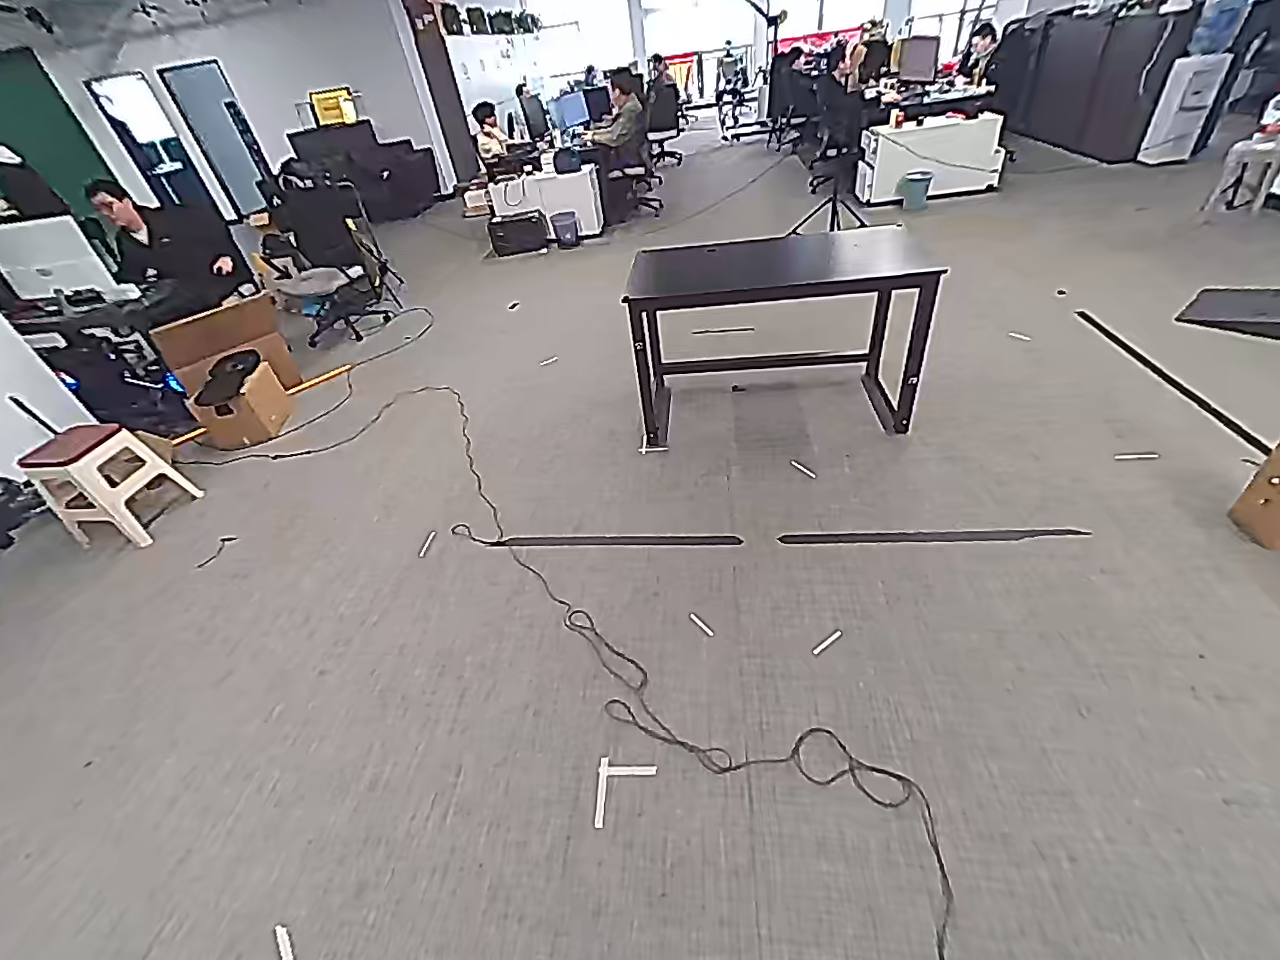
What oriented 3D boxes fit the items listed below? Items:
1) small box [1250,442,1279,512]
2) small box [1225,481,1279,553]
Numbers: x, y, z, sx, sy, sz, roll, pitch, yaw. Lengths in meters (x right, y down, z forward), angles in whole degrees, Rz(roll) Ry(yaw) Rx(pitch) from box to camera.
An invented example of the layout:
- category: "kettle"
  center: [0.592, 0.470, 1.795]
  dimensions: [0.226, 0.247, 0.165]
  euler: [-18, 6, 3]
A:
- category: "small box"
  center: [2.050, -0.005, 1.643]
  dimensions: [0.179, 0.176, 0.168]
  euler: [-3, 39, 10]
- category: "small box"
  center: [2.077, 0.119, 1.747]
  dimensions: [0.168, 0.176, 0.179]
  euler: [-3, 40, 9]
